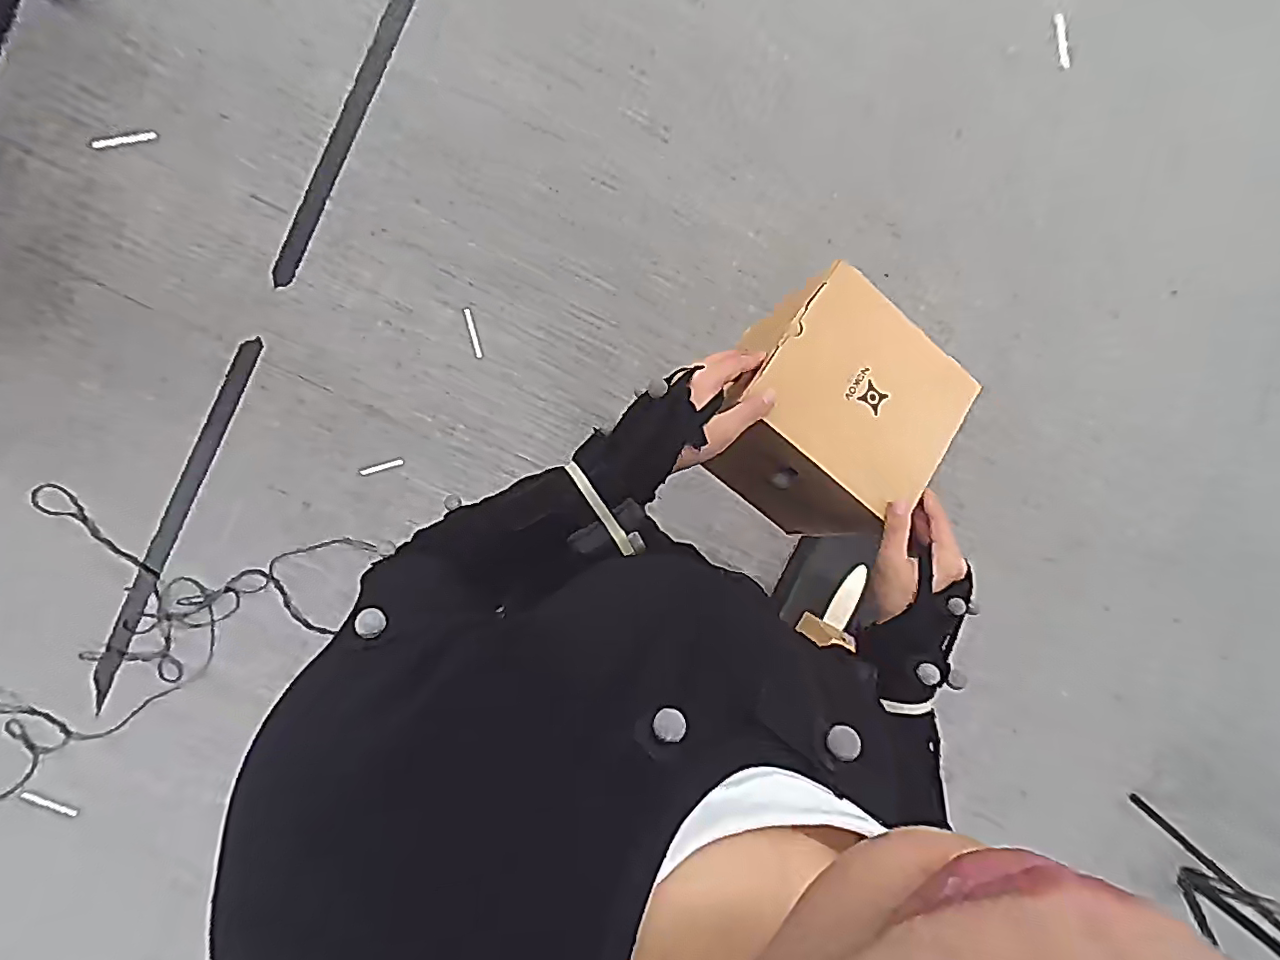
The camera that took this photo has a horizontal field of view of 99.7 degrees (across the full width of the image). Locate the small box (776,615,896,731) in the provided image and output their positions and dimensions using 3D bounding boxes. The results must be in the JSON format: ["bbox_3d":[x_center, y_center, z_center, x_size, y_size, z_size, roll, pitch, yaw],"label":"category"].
[{"bbox_3d":[0.447,0.439,1.267,0.179,0.176,0.168,30,94,-6],"label":"small box"}]

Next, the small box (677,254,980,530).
[{"bbox_3d":[0.166,-0.067,0.519,0.179,0.176,0.168,37,76,-8],"label":"small box"}]
